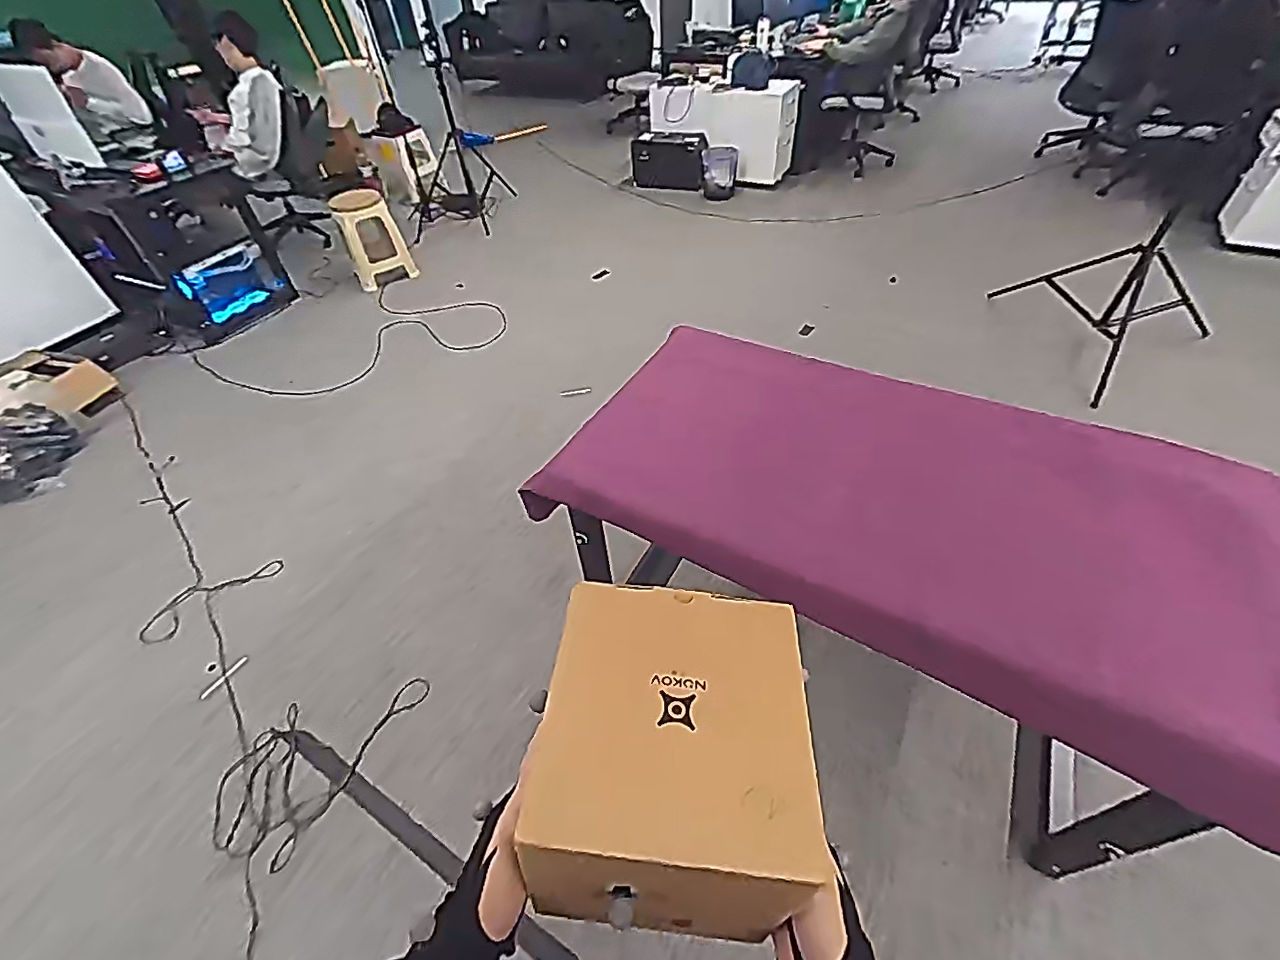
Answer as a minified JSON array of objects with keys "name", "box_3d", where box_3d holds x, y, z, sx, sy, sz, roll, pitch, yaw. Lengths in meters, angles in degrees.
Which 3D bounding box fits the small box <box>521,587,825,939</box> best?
[{"name":"small box","box_3d":[0.021,0.206,0.399,0.168,0.176,0.179,6,40,2]}]
